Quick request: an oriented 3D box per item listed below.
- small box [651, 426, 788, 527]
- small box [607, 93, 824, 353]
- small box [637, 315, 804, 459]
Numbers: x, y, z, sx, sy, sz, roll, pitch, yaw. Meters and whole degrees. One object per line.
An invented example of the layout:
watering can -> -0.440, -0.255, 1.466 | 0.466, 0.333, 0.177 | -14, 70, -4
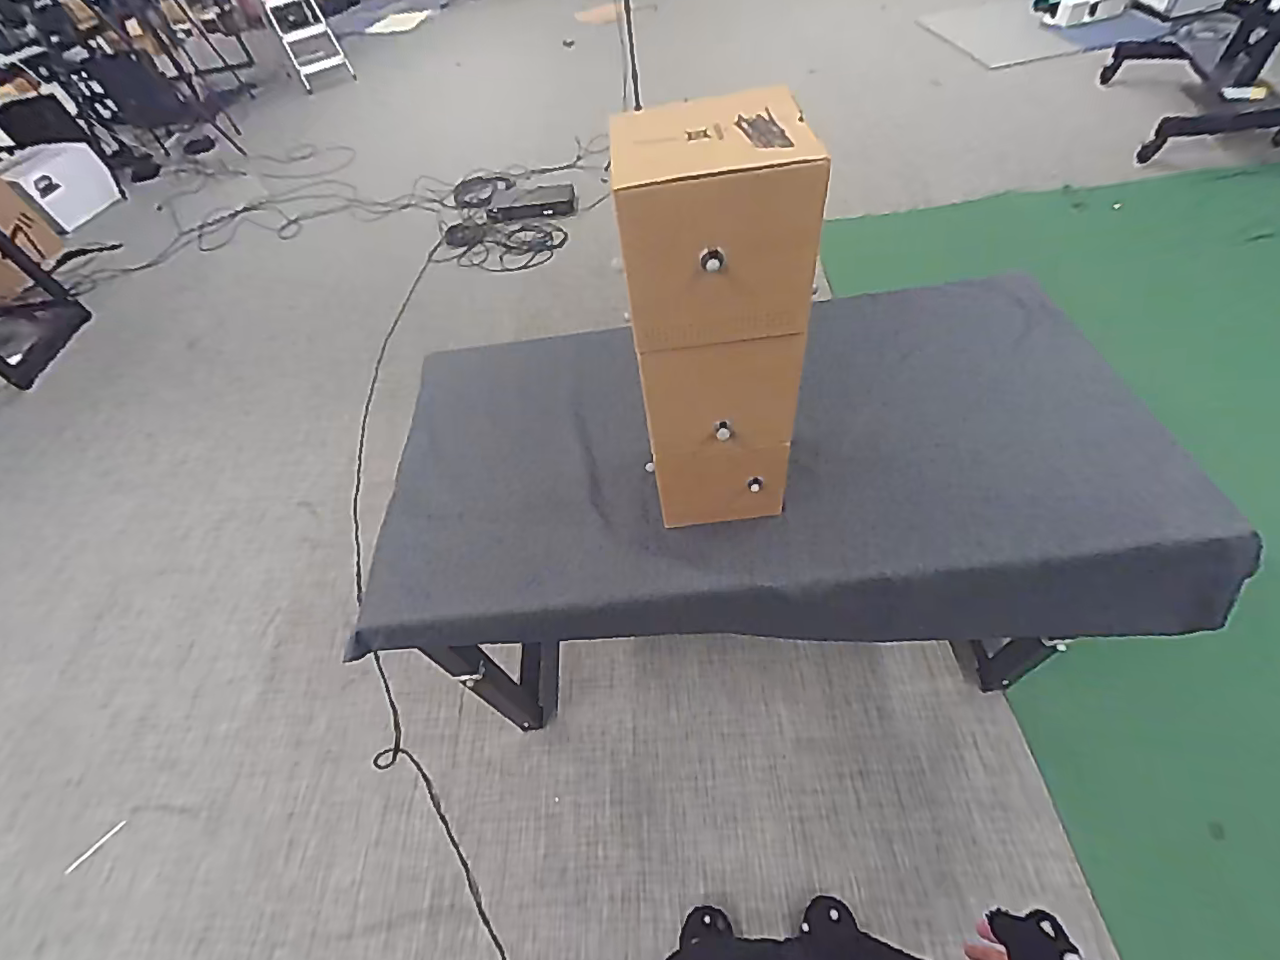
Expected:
small box -> 0.107, -0.049, 0.798 | 0.179, 0.176, 0.168 | -9, 51, 4
small box -> 0.066, -0.250, 0.541 | 0.179, 0.176, 0.168 | -7, 51, 5
small box -> 0.087, -0.147, 0.672 | 0.179, 0.176, 0.168 | -9, 52, 2
